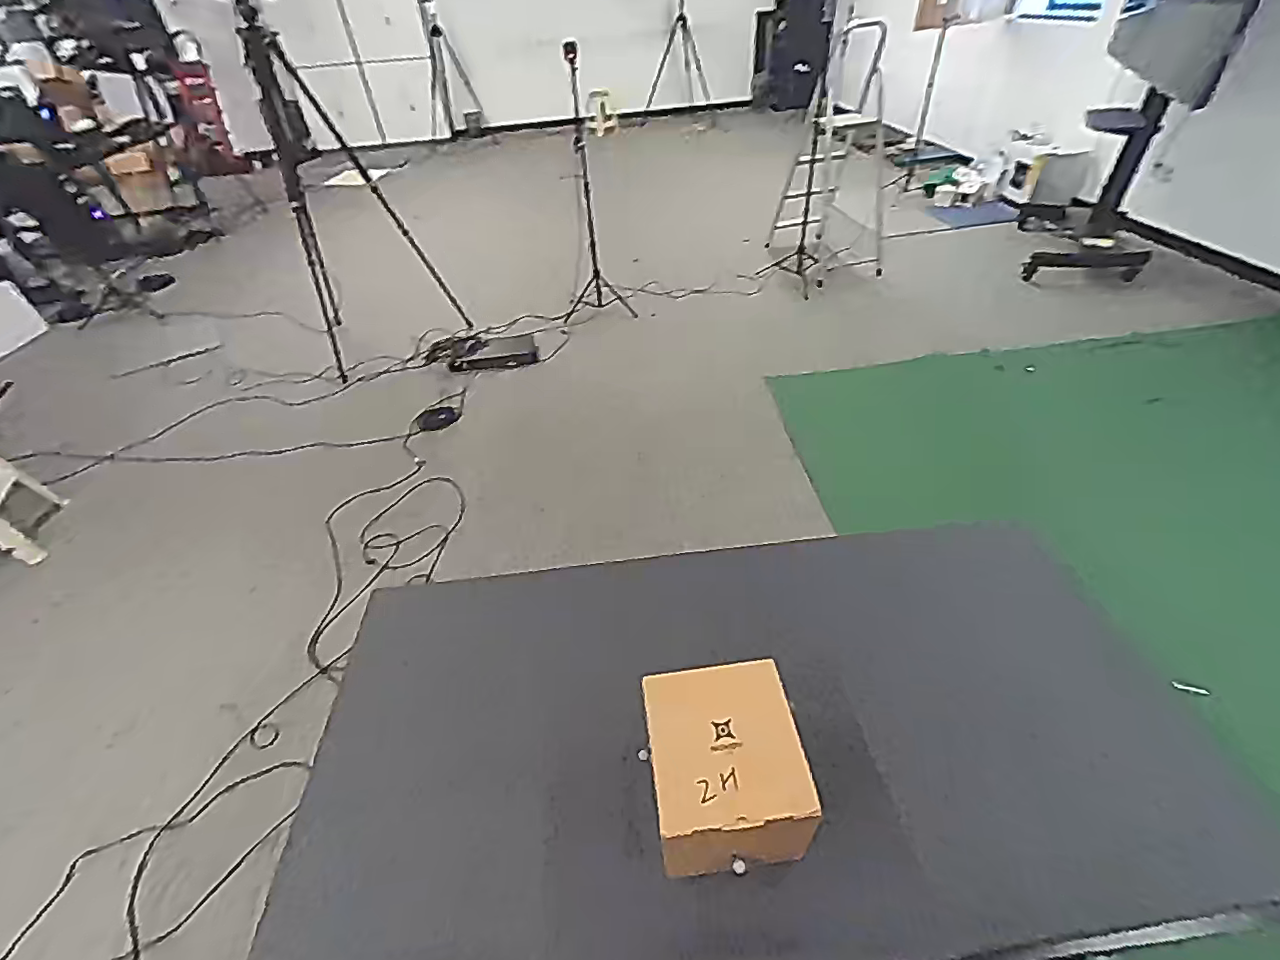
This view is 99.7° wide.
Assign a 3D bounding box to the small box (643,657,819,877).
[{"bbox_3d":[0.096,0.344,0.653,0.168,0.176,0.179,-8,42,-2],"label":"small box"}]
